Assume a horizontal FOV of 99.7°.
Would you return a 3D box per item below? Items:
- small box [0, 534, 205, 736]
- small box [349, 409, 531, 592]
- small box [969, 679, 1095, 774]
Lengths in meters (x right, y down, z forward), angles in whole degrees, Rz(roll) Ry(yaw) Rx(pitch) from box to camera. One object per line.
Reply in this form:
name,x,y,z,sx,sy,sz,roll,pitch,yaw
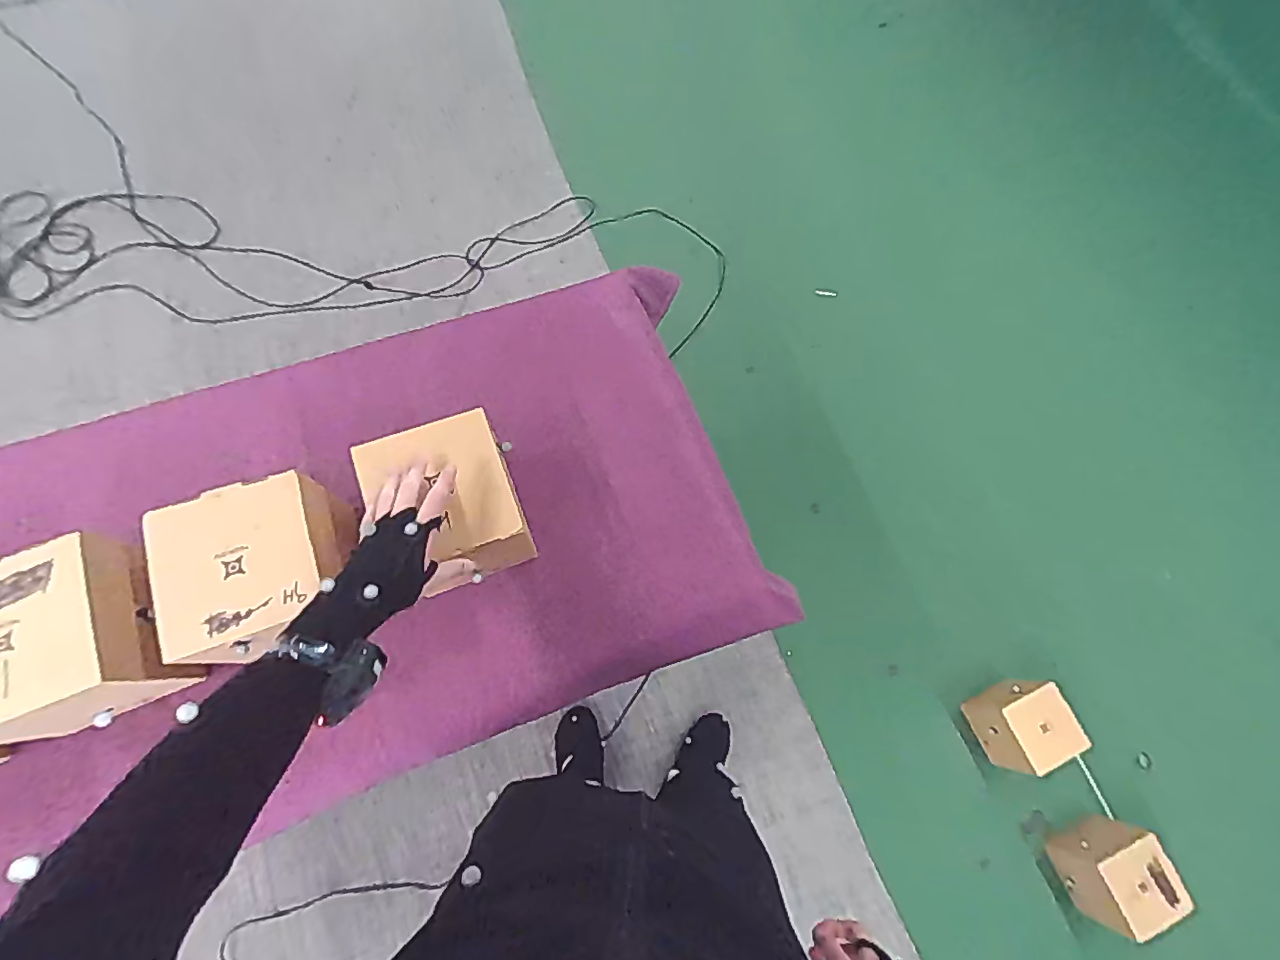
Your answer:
small box,-0.668,0.187,0.641,0.168,0.176,0.179,-21,76,-11
small box,-0.256,0.035,0.726,0.168,0.176,0.179,-20,75,-10
small box,0.997,0.630,1.400,0.179,0.176,0.168,-21,74,-12
